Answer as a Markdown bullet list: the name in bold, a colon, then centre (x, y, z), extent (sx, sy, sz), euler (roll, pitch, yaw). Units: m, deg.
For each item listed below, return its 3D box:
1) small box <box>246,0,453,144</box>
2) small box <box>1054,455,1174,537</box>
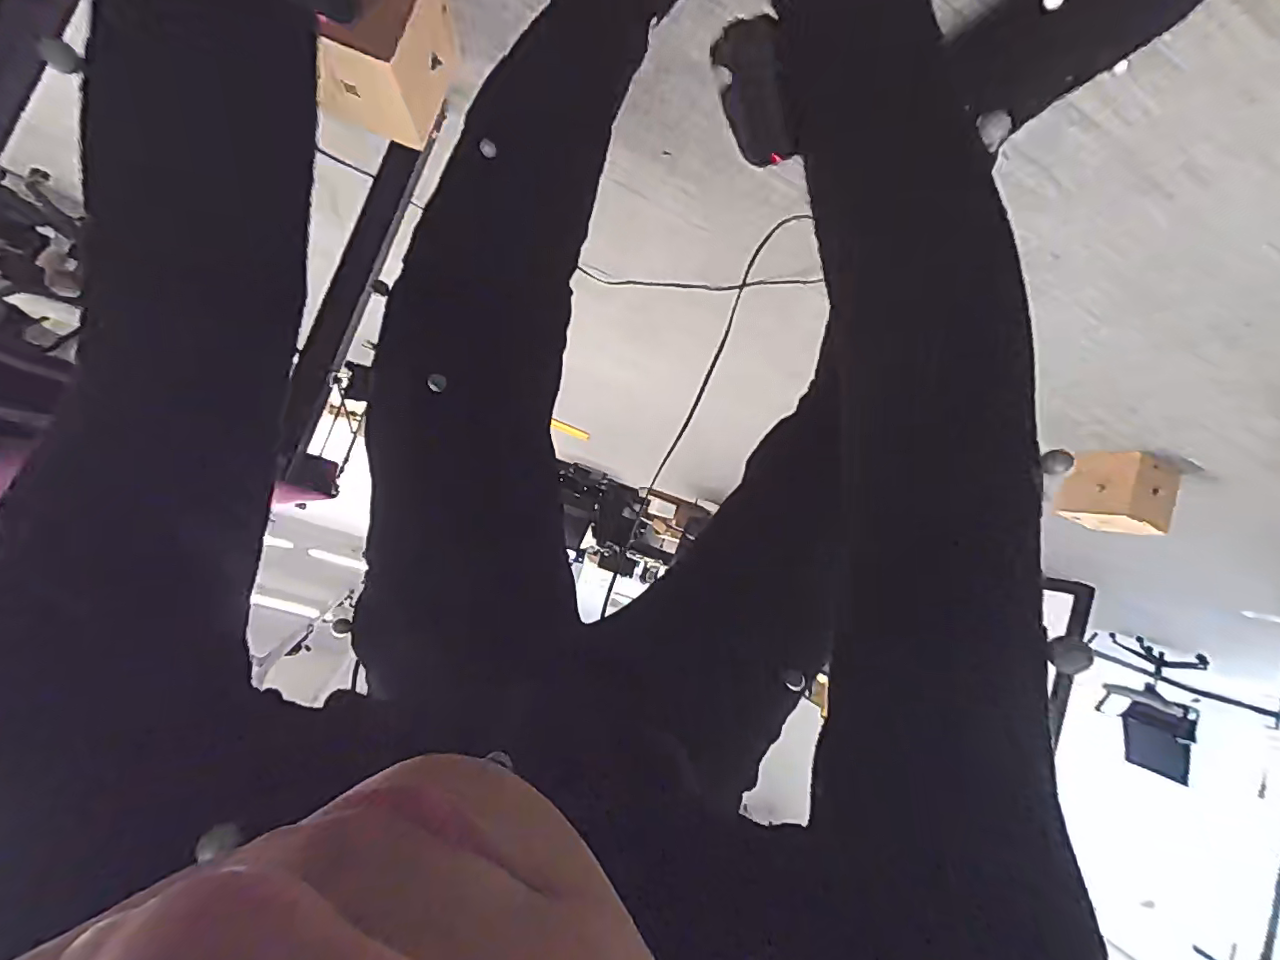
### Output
- **small box**: centre (-0.362, -0.601, 0.713), extent (0.179, 0.176, 0.168), euler (20, 174, -8)
- **small box**: centre (1.237, 0.040, 1.408), extent (0.168, 0.176, 0.179), euler (21, 173, -17)
